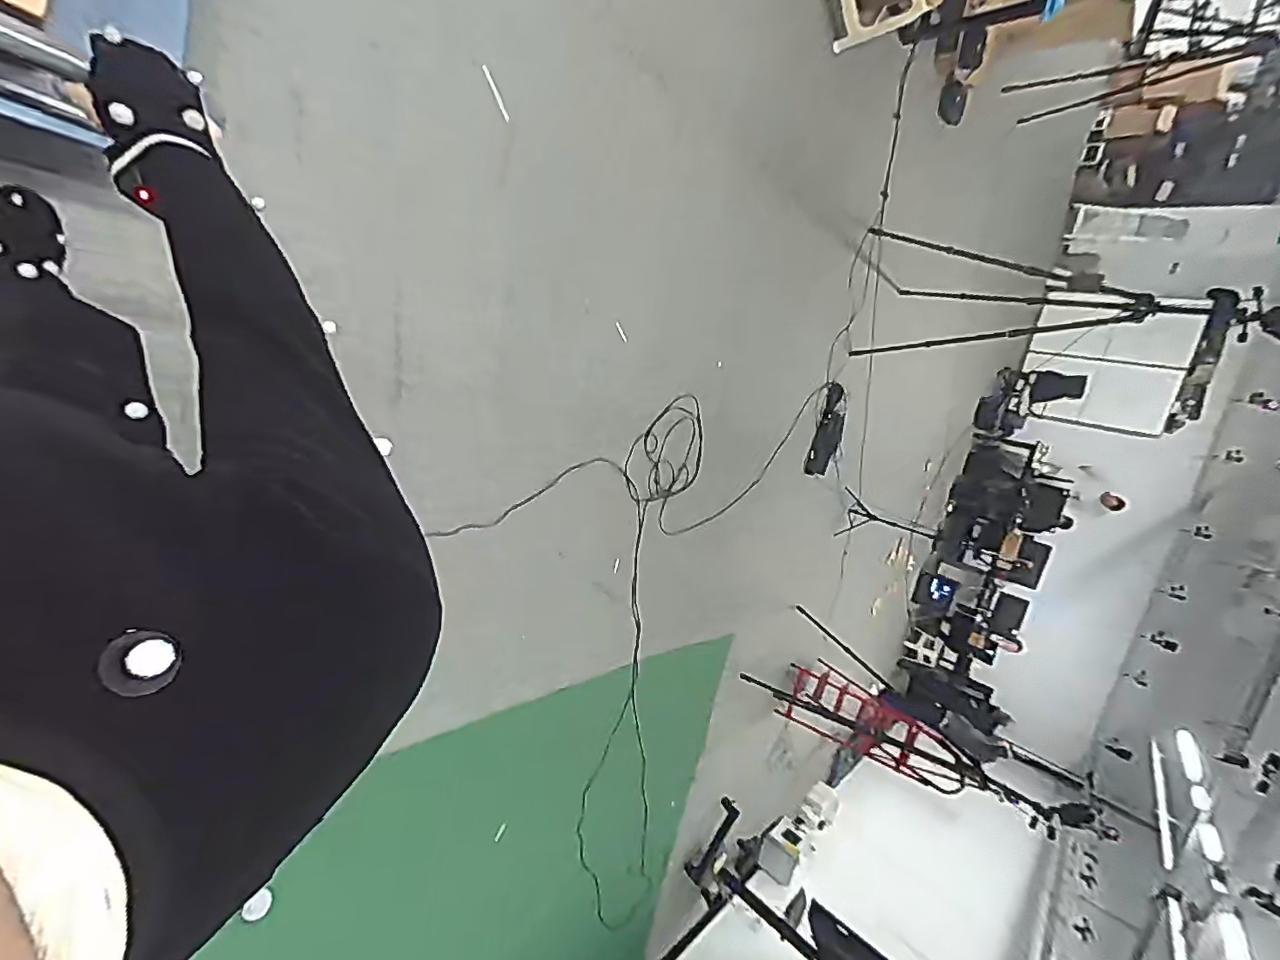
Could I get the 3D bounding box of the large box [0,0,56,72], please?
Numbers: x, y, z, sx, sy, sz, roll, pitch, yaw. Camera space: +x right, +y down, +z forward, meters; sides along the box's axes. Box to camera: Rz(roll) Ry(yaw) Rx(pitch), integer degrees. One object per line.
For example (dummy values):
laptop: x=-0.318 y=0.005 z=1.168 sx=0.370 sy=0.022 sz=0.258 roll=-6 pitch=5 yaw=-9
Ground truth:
large box: x=-0.929 y=-0.823 z=0.653 sx=0.320 sy=0.320 sz=0.408 roll=4 pitch=102 yaw=-49
